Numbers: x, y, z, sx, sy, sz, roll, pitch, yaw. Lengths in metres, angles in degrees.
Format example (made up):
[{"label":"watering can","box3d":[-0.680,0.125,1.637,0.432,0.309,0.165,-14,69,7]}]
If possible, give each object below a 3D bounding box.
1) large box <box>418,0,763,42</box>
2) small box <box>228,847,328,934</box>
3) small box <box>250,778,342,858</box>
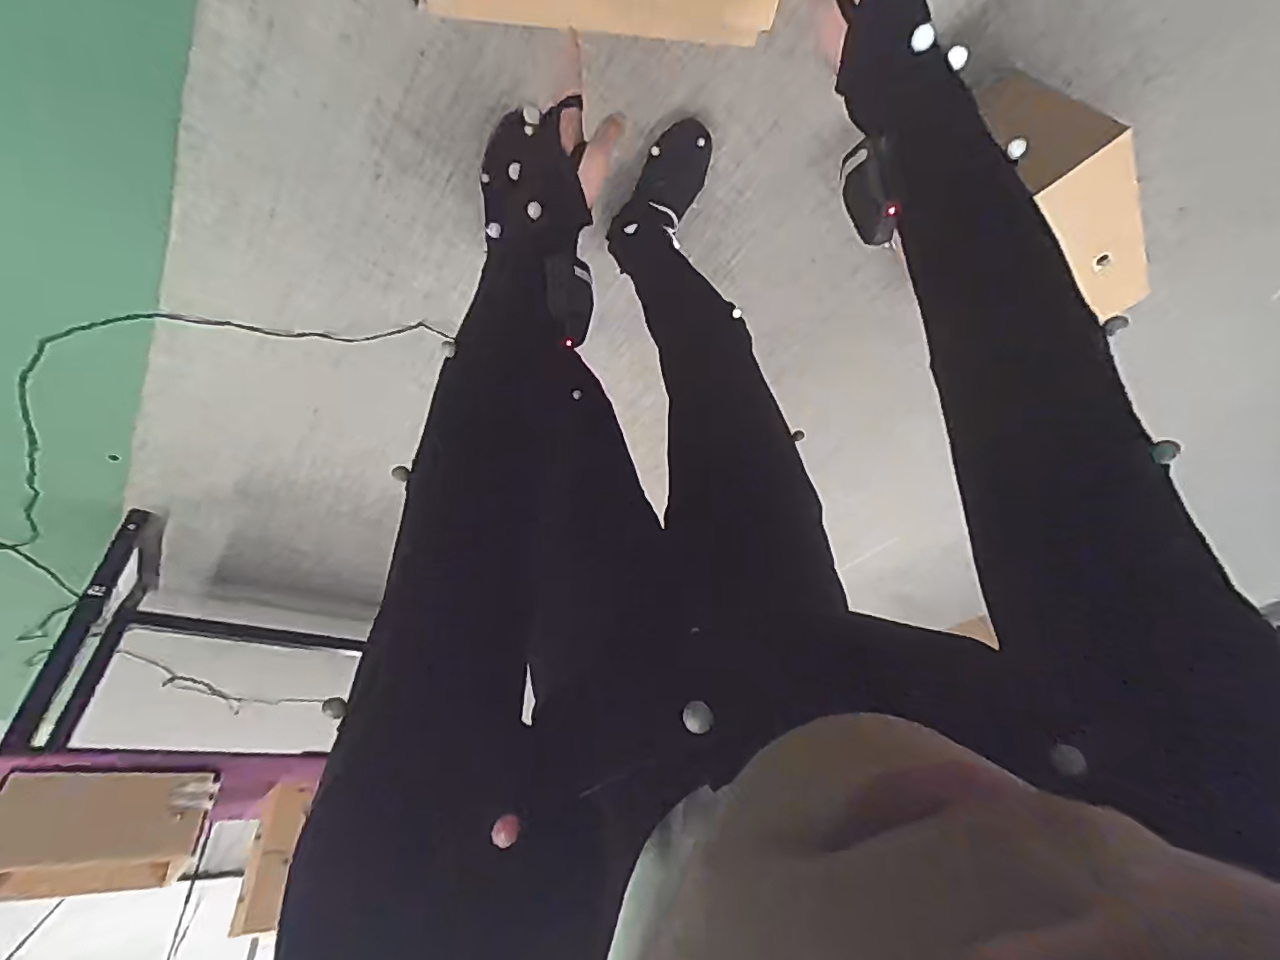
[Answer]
[{"label":"large box","box3d":[-0.055,-0.749,0.617,0.408,0.320,0.320,-1,140,-8]},{"label":"small box","box3d":[-0.955,1.087,1.437,0.168,0.176,0.179,22,133,-33]},{"label":"small box","box3d":[-0.971,0.959,1.538,0.168,0.176,0.179,23,133,-33]}]
